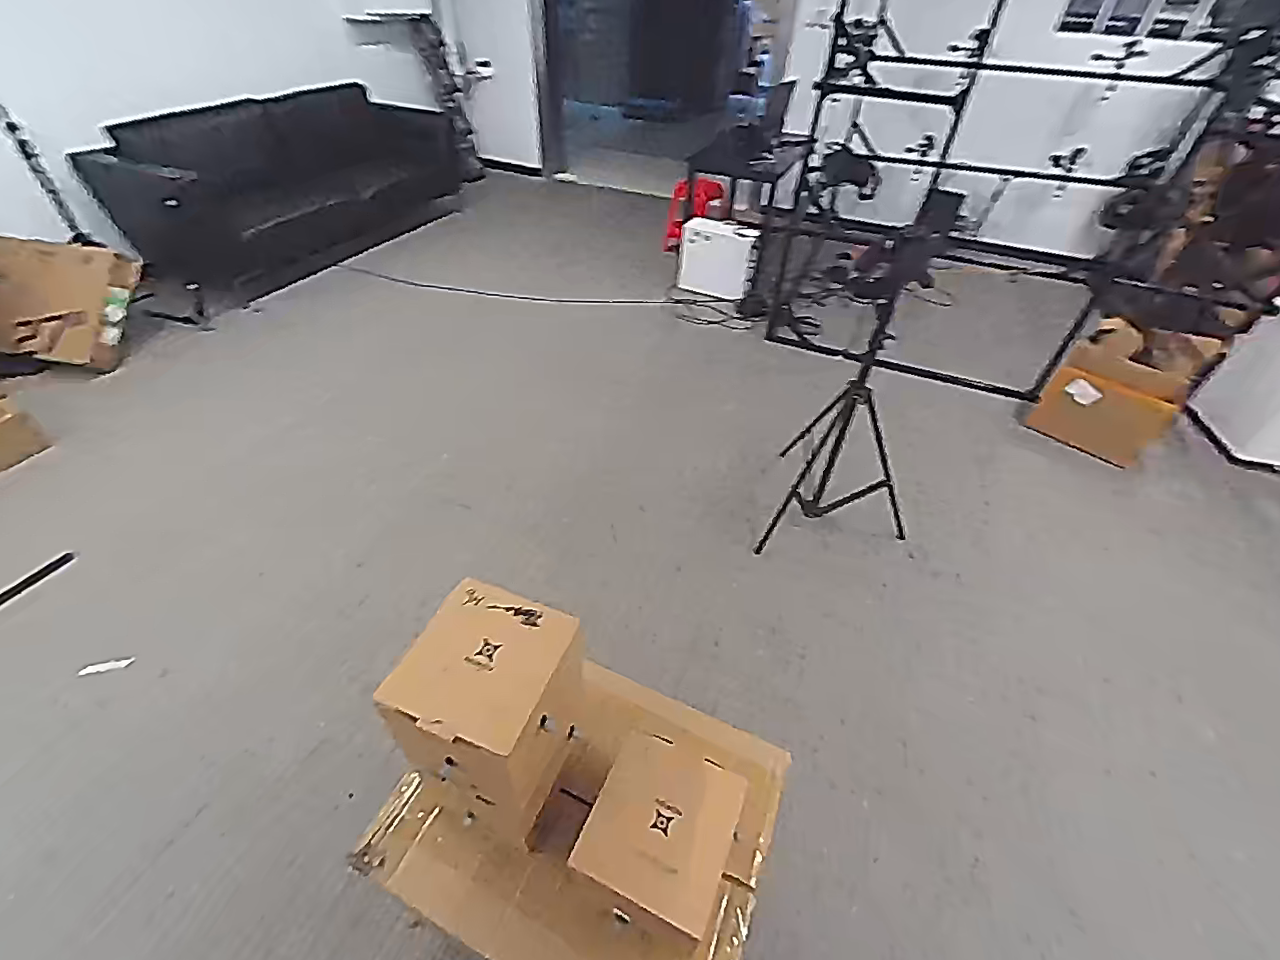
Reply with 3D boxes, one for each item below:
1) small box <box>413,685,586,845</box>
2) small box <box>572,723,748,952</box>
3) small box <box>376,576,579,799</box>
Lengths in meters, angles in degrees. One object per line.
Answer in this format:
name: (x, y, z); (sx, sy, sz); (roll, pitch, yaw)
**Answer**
small box: (-0.189, 0.379, 0.777); (0.168, 0.176, 0.179); (18, 45, 14)
small box: (0.027, 0.462, 0.703); (0.168, 0.176, 0.179); (17, 46, 18)
small box: (-0.180, 0.257, 0.668); (0.168, 0.176, 0.179); (17, 45, 13)
